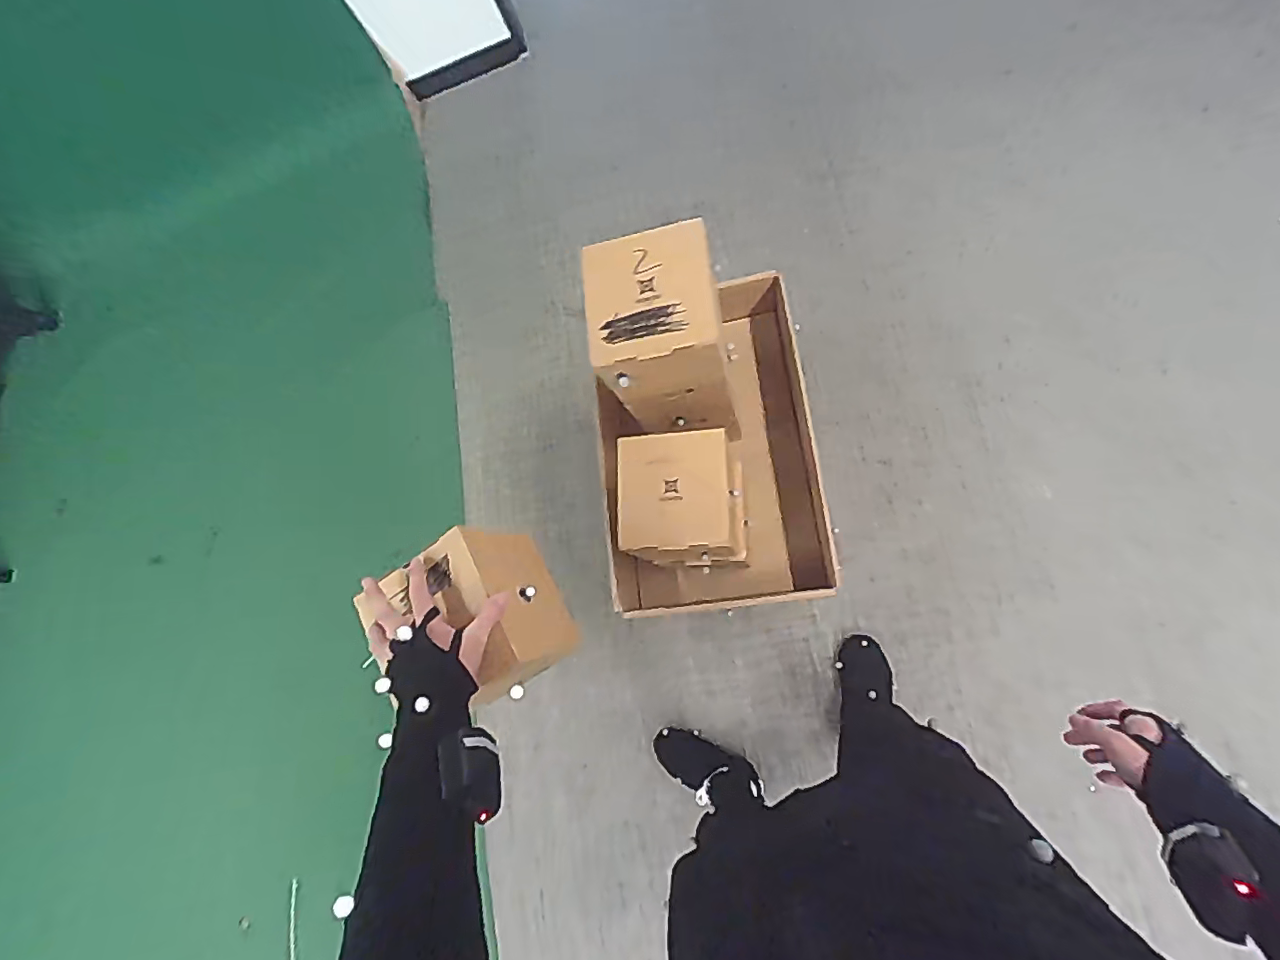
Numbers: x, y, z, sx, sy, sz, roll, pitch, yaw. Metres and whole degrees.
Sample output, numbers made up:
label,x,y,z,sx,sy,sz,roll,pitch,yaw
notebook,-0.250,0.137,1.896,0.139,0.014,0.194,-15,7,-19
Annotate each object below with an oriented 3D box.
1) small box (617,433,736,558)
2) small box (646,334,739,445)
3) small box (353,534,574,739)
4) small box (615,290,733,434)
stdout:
label,x,y,z,sx,sy,sz,roll,pitch,yaw
small box,0.065,0.035,0.877,0.168,0.176,0.179,-3,76,13
small box,0.103,-0.166,1.086,0.168,0.176,0.179,-9,77,13
small box,-0.214,0.190,0.685,0.168,0.176,0.179,-34,72,10
small box,0.063,-0.193,0.932,0.168,0.176,0.179,-10,78,12
